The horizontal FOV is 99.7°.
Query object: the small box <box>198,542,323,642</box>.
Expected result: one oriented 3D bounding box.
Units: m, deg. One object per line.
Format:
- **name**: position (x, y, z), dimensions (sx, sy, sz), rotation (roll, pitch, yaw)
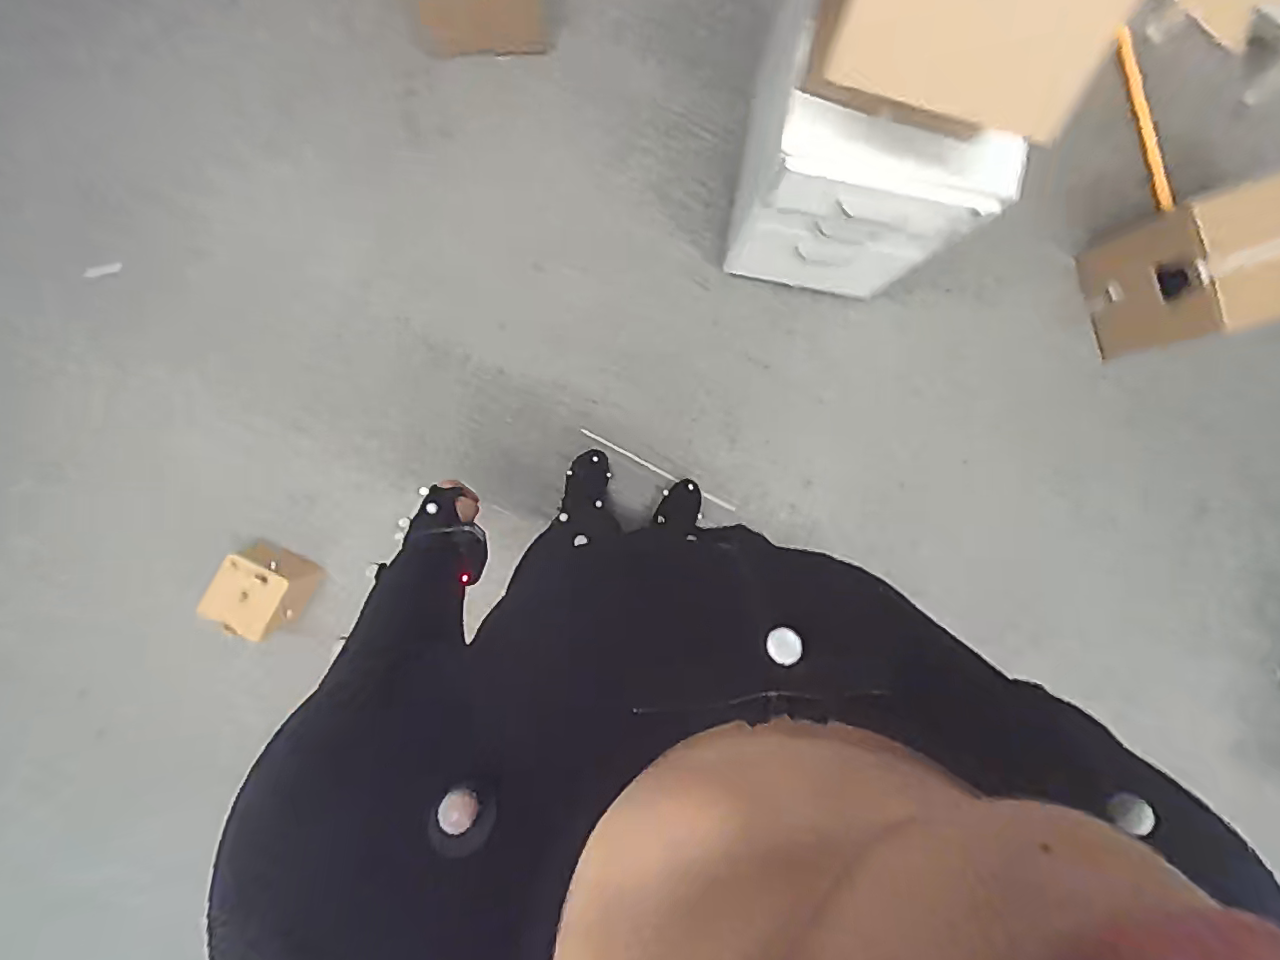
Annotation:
- **small box**: position (-0.961, 0.280, 1.388), dimensions (0.168, 0.176, 0.179), rotation (29, 91, -1)
